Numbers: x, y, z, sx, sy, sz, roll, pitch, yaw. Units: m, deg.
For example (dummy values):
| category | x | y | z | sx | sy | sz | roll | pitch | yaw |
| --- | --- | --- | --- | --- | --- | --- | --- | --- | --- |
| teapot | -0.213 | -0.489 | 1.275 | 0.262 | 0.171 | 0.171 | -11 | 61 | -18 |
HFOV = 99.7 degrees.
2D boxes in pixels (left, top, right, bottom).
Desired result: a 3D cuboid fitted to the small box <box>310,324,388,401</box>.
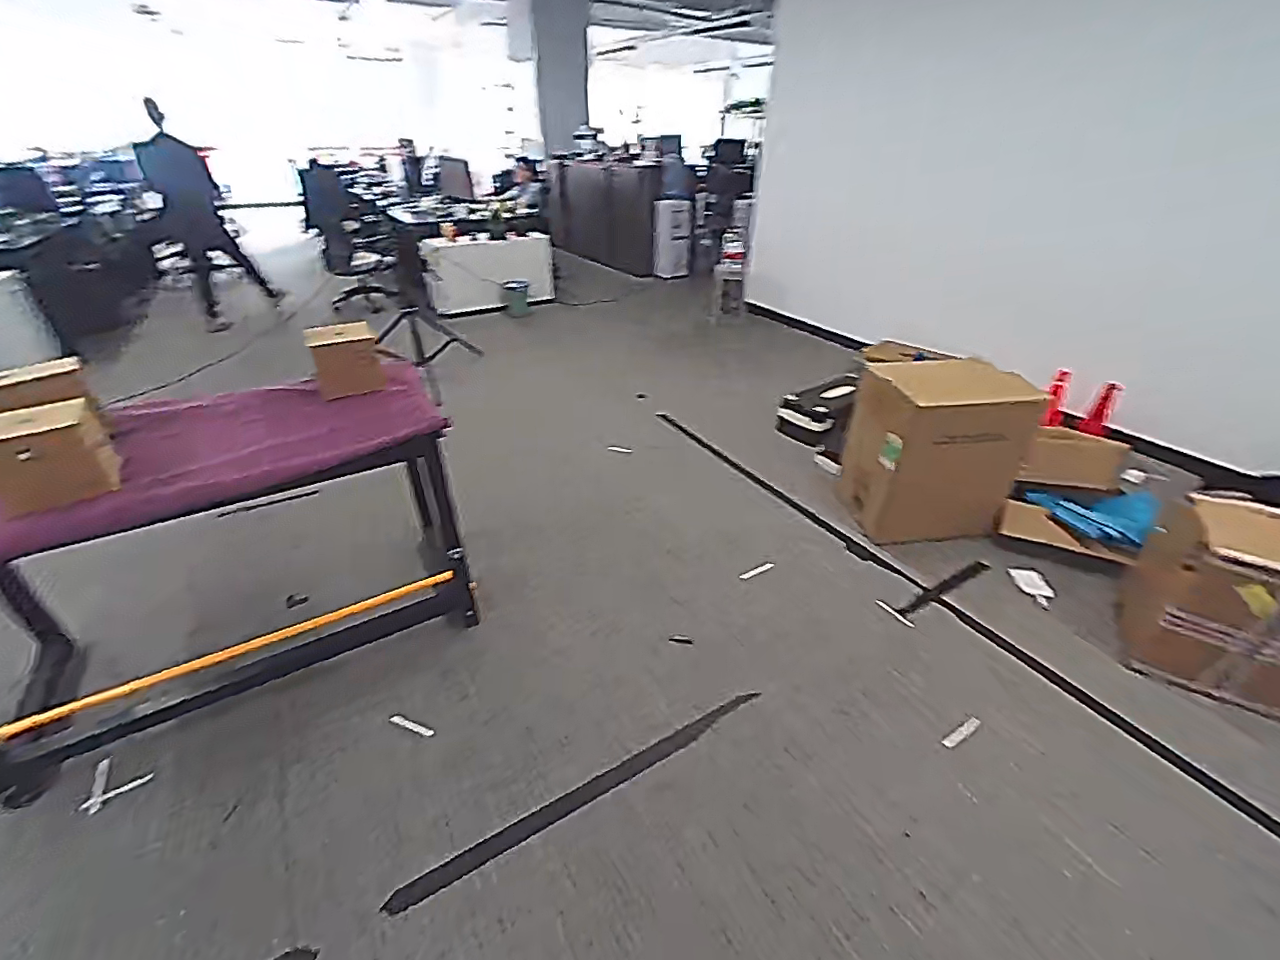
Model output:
| category | x | y | z | sx | sy | sz | roll | pitch | yaw |
| --- | --- | --- | --- | --- | --- | --- | --- | --- | --- |
| small box | -0.887 | -0.361 | 1.657 | 0.179 | 0.176 | 0.168 | -18 | 38 | -26 |

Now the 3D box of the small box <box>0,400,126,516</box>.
| category | x | y | z | sx | sy | sz | roll | pitch | yaw |
| --- | --- | --- | --- | --- | --- | --- | --- | --- | --- |
| small box | -1.265 | -0.050 | 1.173 | 0.179 | 0.176 | 0.168 | -22 | 38 | -31 |
